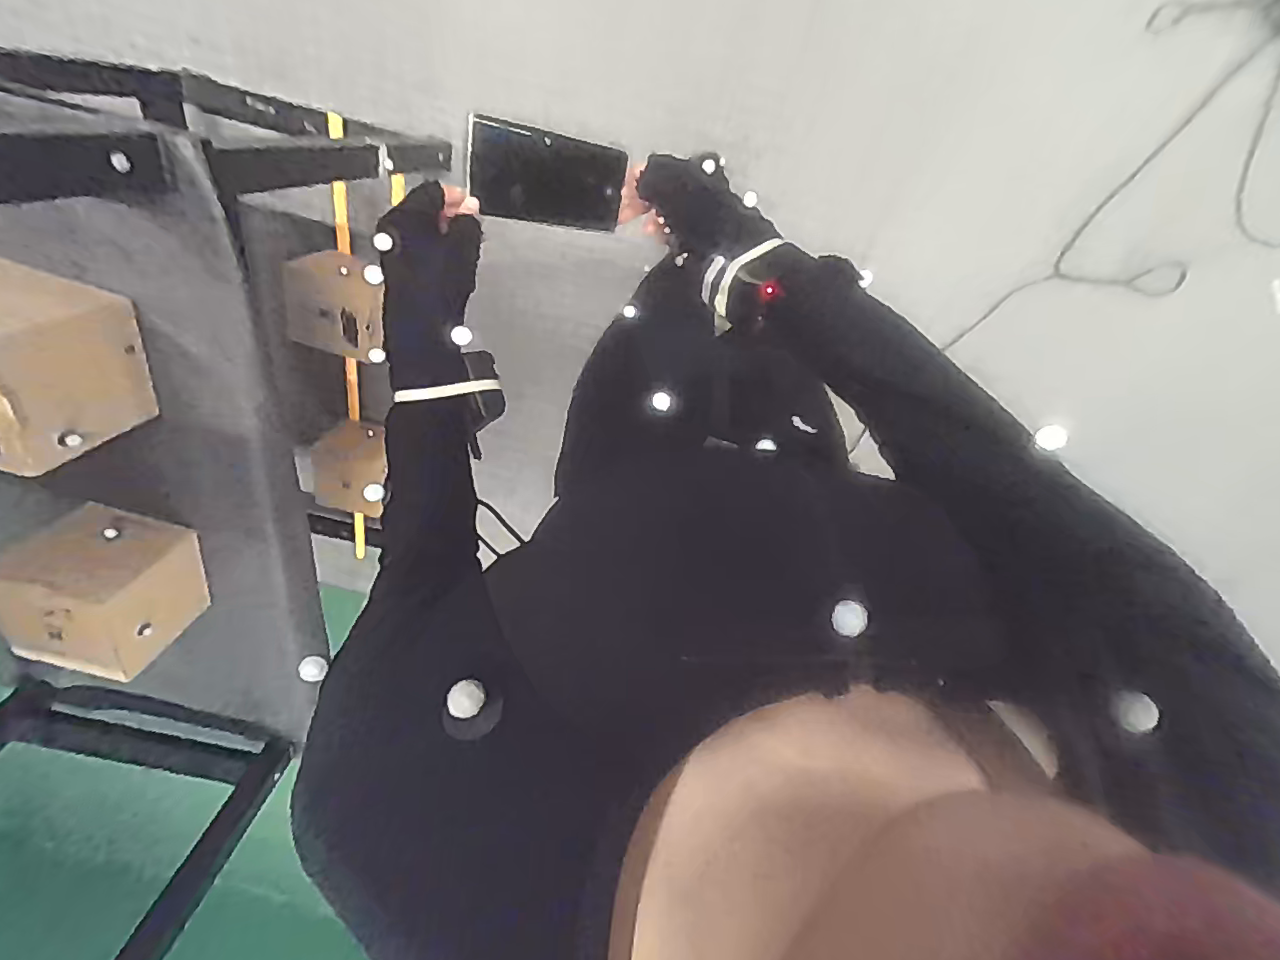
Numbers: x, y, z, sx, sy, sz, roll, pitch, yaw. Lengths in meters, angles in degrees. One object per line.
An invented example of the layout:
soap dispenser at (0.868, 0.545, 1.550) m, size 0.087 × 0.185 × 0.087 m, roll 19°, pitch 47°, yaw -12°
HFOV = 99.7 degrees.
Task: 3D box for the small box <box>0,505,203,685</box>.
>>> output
small box at (-0.806, 0.169, 0.814) m, size 0.168 × 0.176 × 0.179 m, roll 17°, pitch 122°, yaw -5°

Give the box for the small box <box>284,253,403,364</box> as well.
small box at (-0.643, -0.383, 1.190) m, size 0.179 × 0.176 × 0.168 m, roll 17°, pitch 122°, yaw -5°
